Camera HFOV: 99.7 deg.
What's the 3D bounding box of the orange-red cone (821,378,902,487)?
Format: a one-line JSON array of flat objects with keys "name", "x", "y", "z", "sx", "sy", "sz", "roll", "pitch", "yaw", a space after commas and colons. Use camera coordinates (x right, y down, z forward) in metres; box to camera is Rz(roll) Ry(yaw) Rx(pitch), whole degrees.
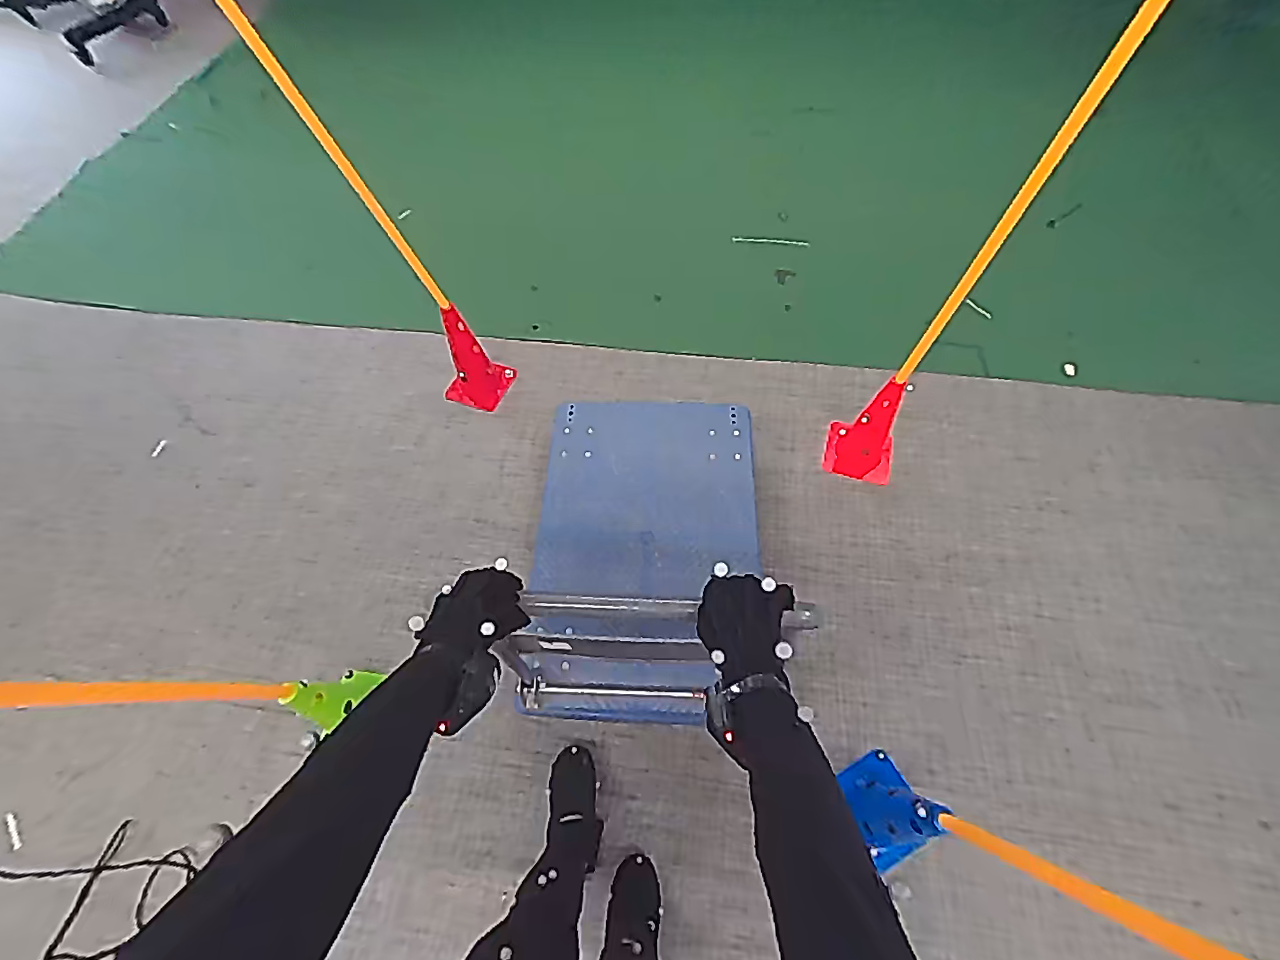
[{"name": "orange-red cone", "x": 0.673, "y": -0.162, "z": 1.554, "sx": 0.198, "sy": 0.360, "sz": 0.199, "roll": 16, "pitch": 63, "yaw": 12}]
